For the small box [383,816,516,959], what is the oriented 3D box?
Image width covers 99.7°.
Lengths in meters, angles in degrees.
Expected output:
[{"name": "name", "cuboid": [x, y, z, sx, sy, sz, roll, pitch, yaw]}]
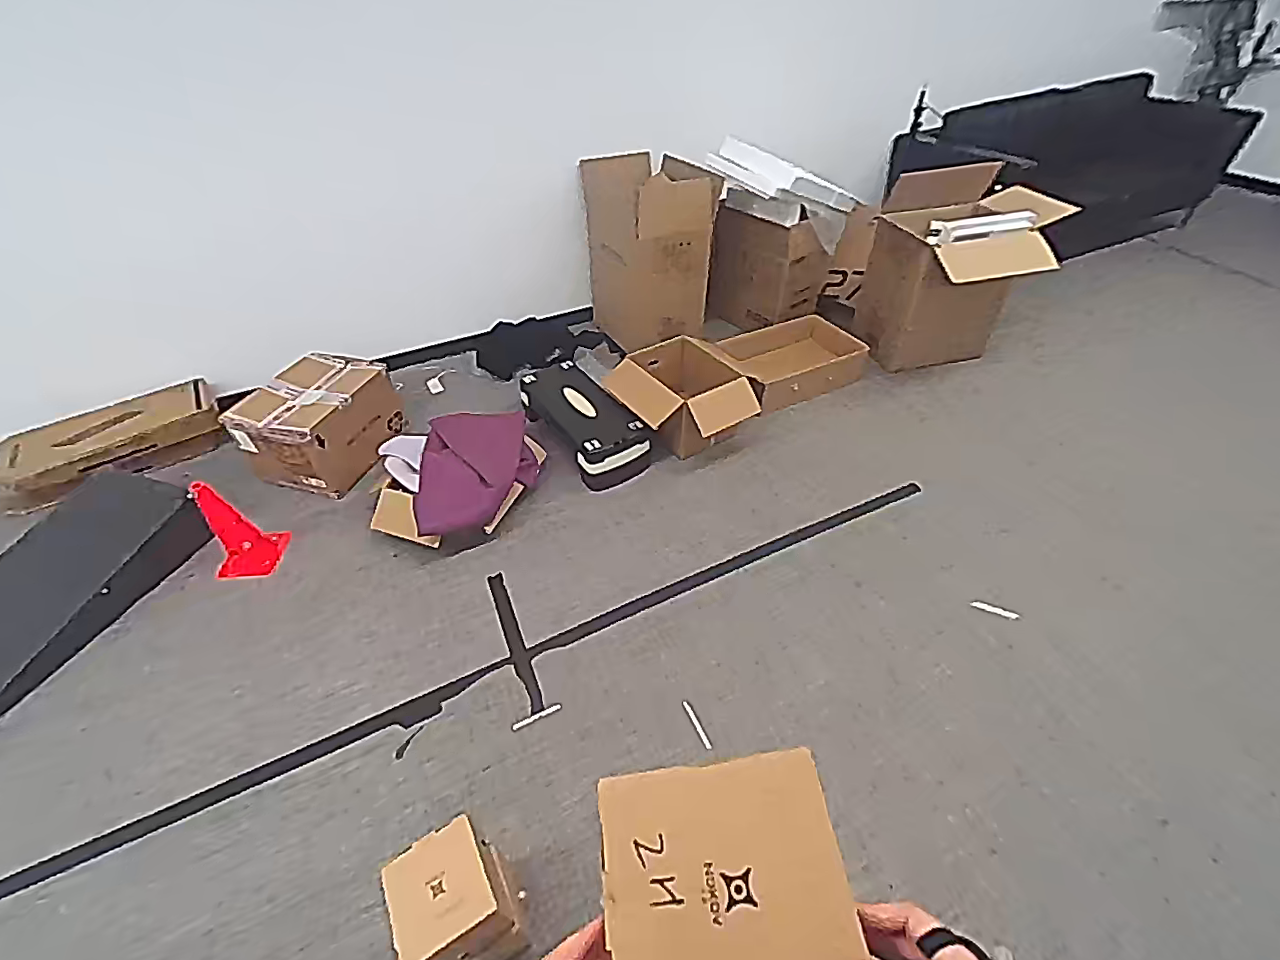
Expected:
[{"name": "small box", "cuboid": [-0.350, 0.780, 1.010, 0.168, 0.176, 0.179, -25, 49, -20]}]

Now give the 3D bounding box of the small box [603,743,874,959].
[{"name": "small box", "cuboid": [0.068, 0.335, 0.456, 0.179, 0.176, 0.168, -8, 53, -2]}]

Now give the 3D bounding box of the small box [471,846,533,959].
[{"name": "small box", "cuboid": [-0.339, 0.906, 1.114, 0.179, 0.176, 0.168, -21, 47, -19]}]
